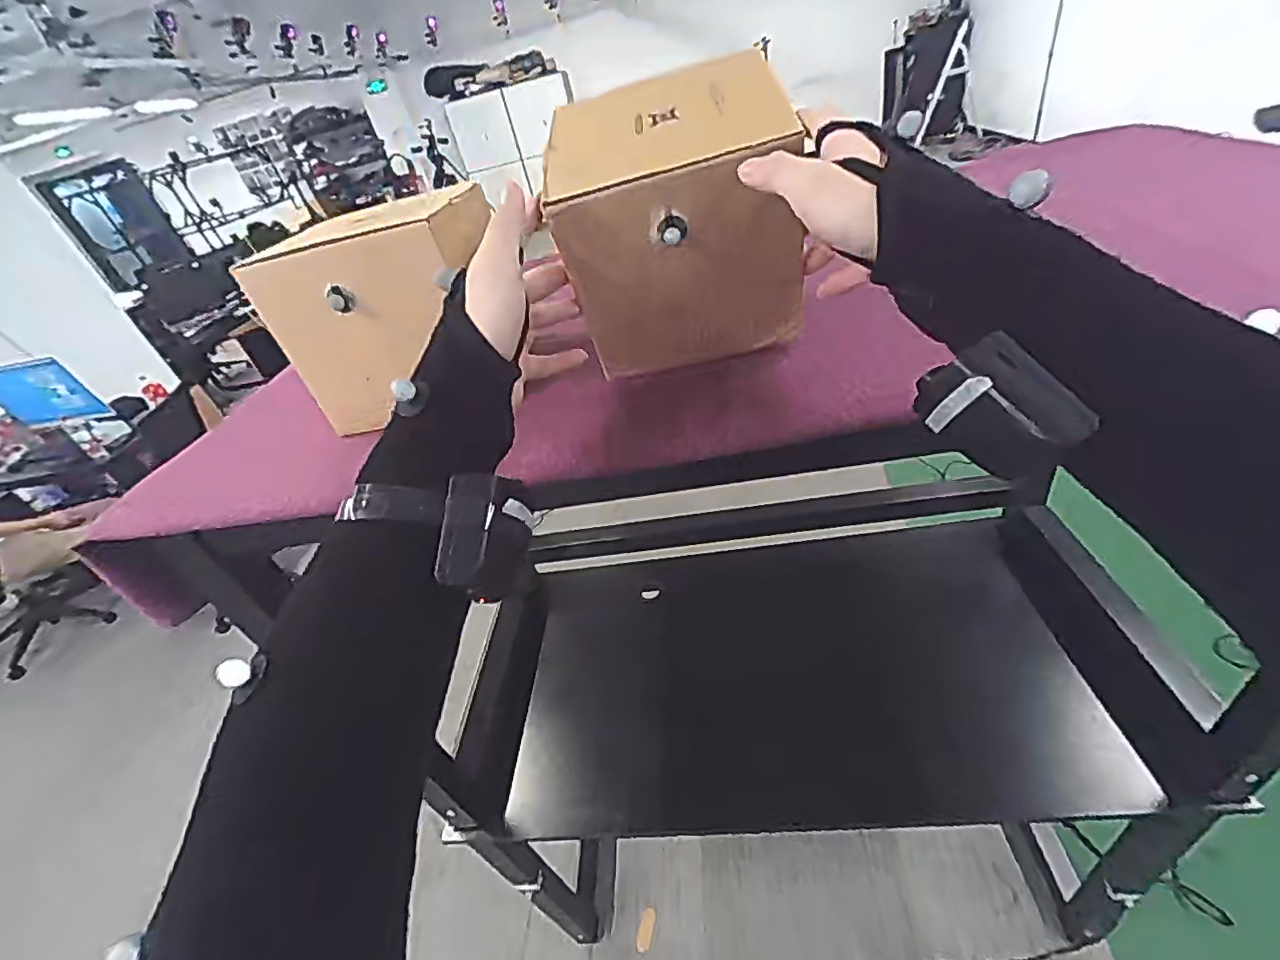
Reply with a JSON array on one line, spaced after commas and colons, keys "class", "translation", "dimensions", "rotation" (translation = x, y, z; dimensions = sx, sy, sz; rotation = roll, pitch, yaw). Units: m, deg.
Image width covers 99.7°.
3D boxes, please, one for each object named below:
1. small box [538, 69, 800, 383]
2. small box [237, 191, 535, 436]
[{"class": "small box", "translation": [0.032, -0.204, 0.461], "dimensions": [0.179, 0.176, 0.168], "rotation": [-10, 51, 10]}, {"class": "small box", "translation": [-0.226, -0.161, 0.536], "dimensions": [0.179, 0.176, 0.168], "rotation": [-10, 37, 9]}]
